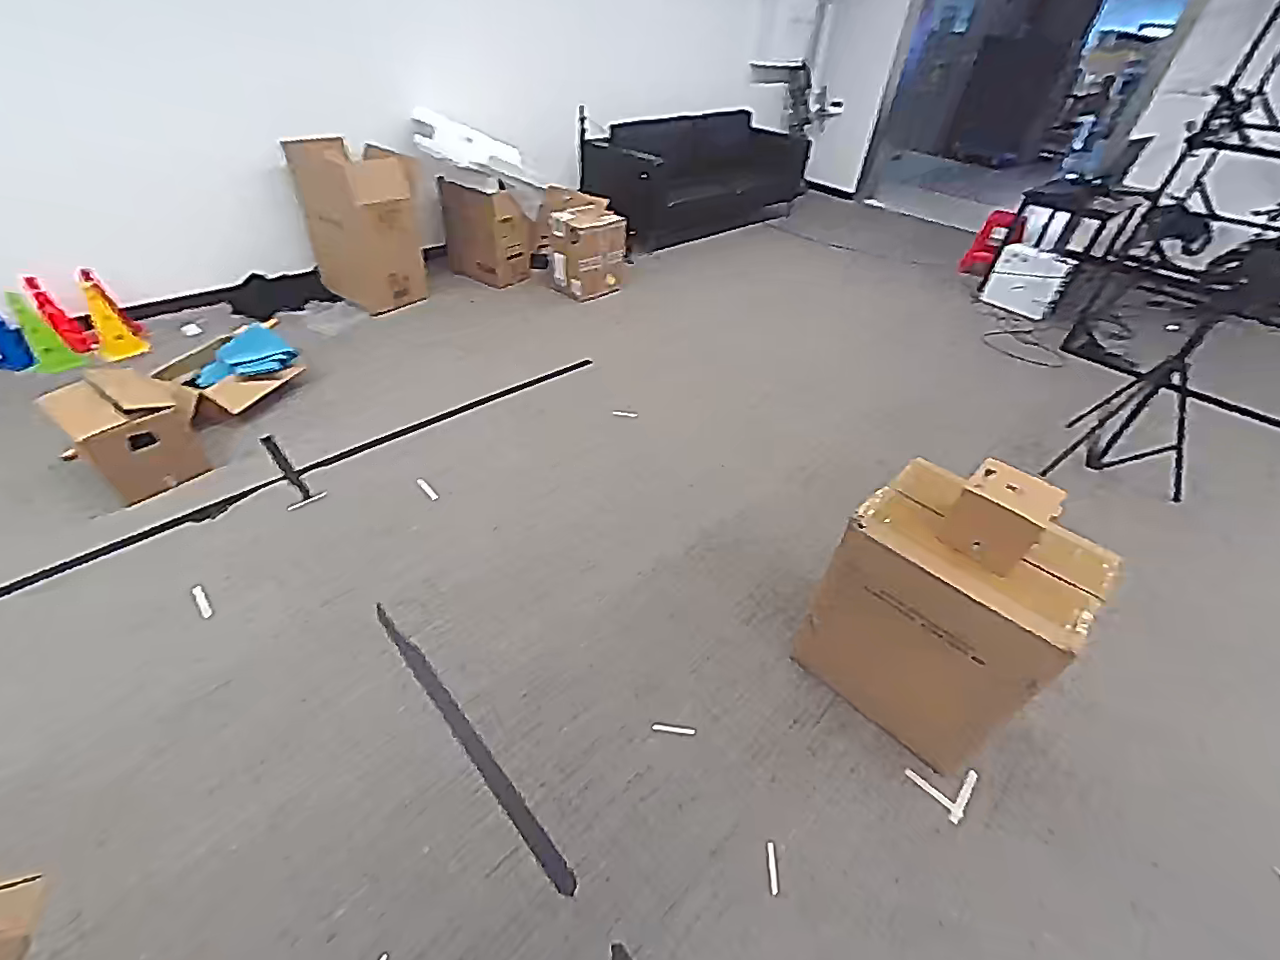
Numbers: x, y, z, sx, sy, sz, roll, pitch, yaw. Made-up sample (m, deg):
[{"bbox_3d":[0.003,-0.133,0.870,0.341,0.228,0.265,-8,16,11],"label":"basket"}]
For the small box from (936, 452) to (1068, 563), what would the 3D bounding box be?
[{"bbox_3d":[0.838,0.070,1.262,0.168,0.176,0.179,-32,53,-33],"label":"small box"}]
